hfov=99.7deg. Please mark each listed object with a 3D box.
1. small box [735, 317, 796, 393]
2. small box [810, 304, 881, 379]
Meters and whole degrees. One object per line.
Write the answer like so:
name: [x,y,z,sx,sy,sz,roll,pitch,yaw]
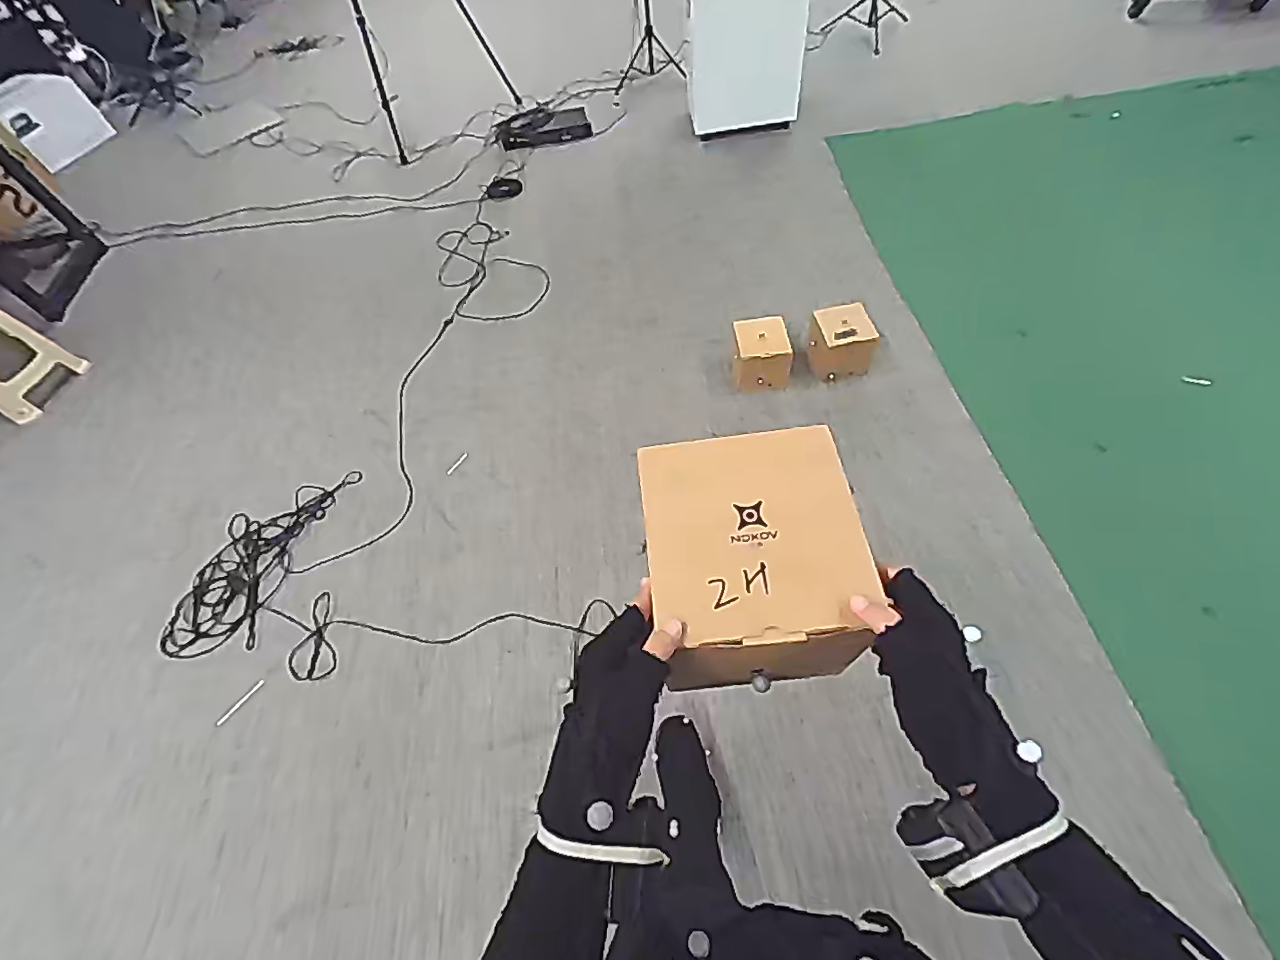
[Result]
small box: [0.418,-0.421,1.831,0.168,0.176,0.179,-6,58,3]
small box: [0.684,-0.458,1.817,0.168,0.176,0.179,-9,57,2]
